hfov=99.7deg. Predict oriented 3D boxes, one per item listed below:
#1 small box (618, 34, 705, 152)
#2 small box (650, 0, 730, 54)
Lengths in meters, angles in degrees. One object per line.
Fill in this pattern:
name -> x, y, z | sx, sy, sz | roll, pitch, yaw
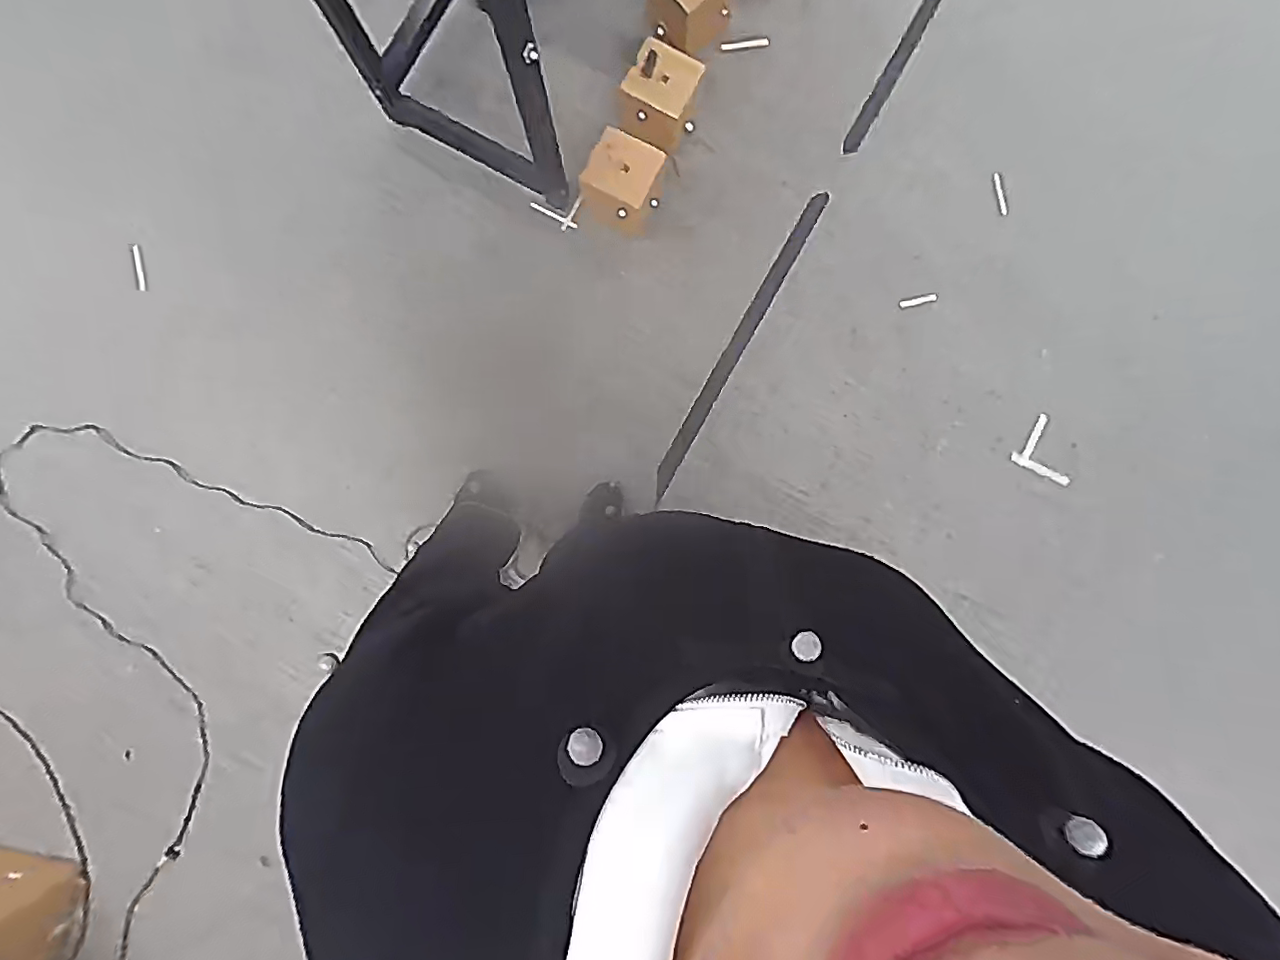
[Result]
small box -> 0.055, -1.050, 1.483 | 0.179, 0.176, 0.168 | 28, 88, 0
small box -> 0.138, -1.340, 1.496 | 0.179, 0.176, 0.168 | -40, 87, 0
